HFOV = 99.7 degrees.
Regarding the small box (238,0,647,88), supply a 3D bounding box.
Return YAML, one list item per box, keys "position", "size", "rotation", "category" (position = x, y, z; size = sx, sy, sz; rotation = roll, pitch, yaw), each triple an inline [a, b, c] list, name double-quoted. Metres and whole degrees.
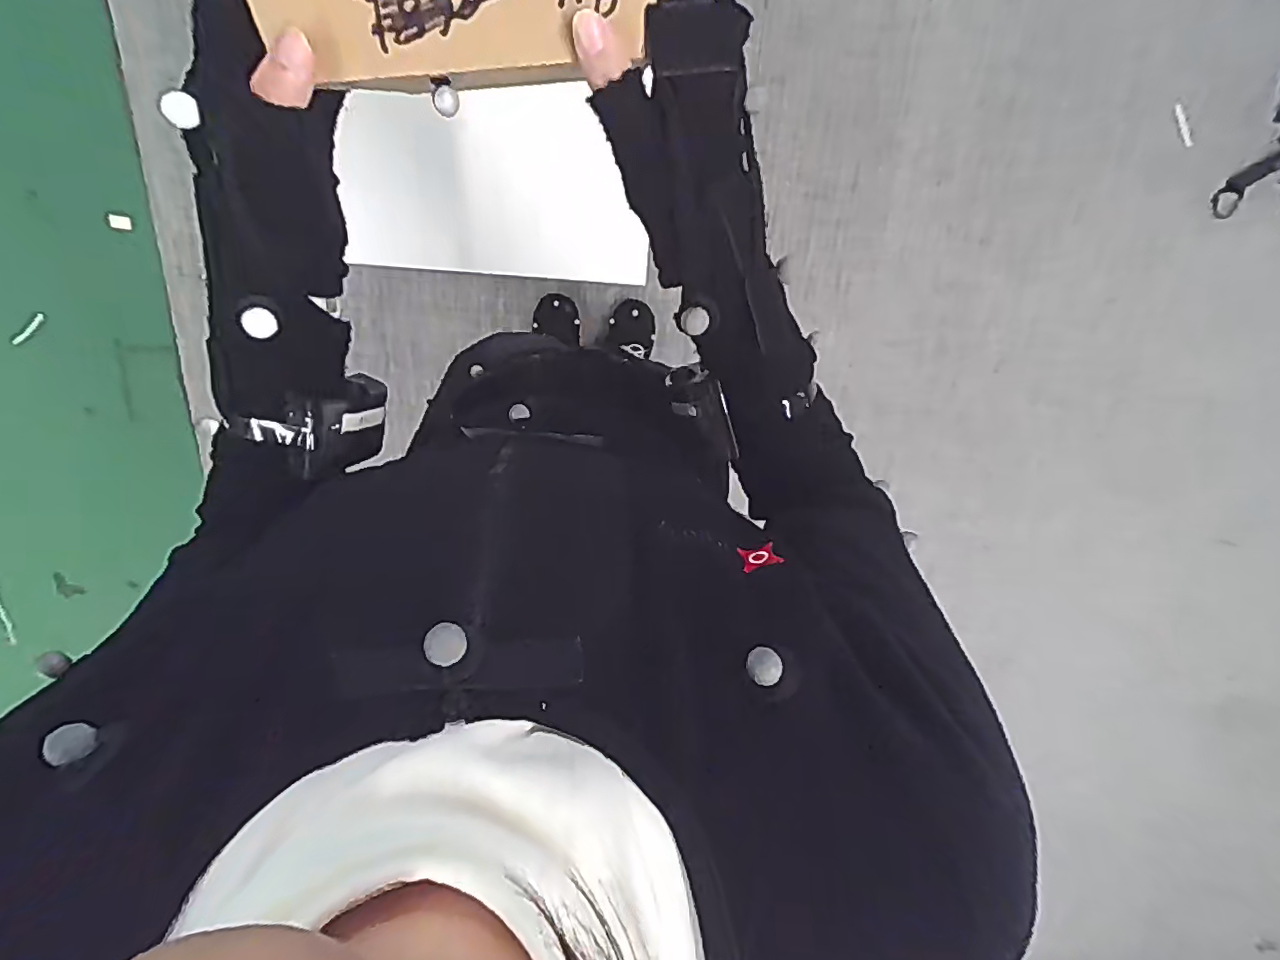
- position: [-0.087, -0.295, 0.247]
  size: [0.168, 0.176, 0.179]
  rotation: [-4, 125, 0]
  category: "small box"
